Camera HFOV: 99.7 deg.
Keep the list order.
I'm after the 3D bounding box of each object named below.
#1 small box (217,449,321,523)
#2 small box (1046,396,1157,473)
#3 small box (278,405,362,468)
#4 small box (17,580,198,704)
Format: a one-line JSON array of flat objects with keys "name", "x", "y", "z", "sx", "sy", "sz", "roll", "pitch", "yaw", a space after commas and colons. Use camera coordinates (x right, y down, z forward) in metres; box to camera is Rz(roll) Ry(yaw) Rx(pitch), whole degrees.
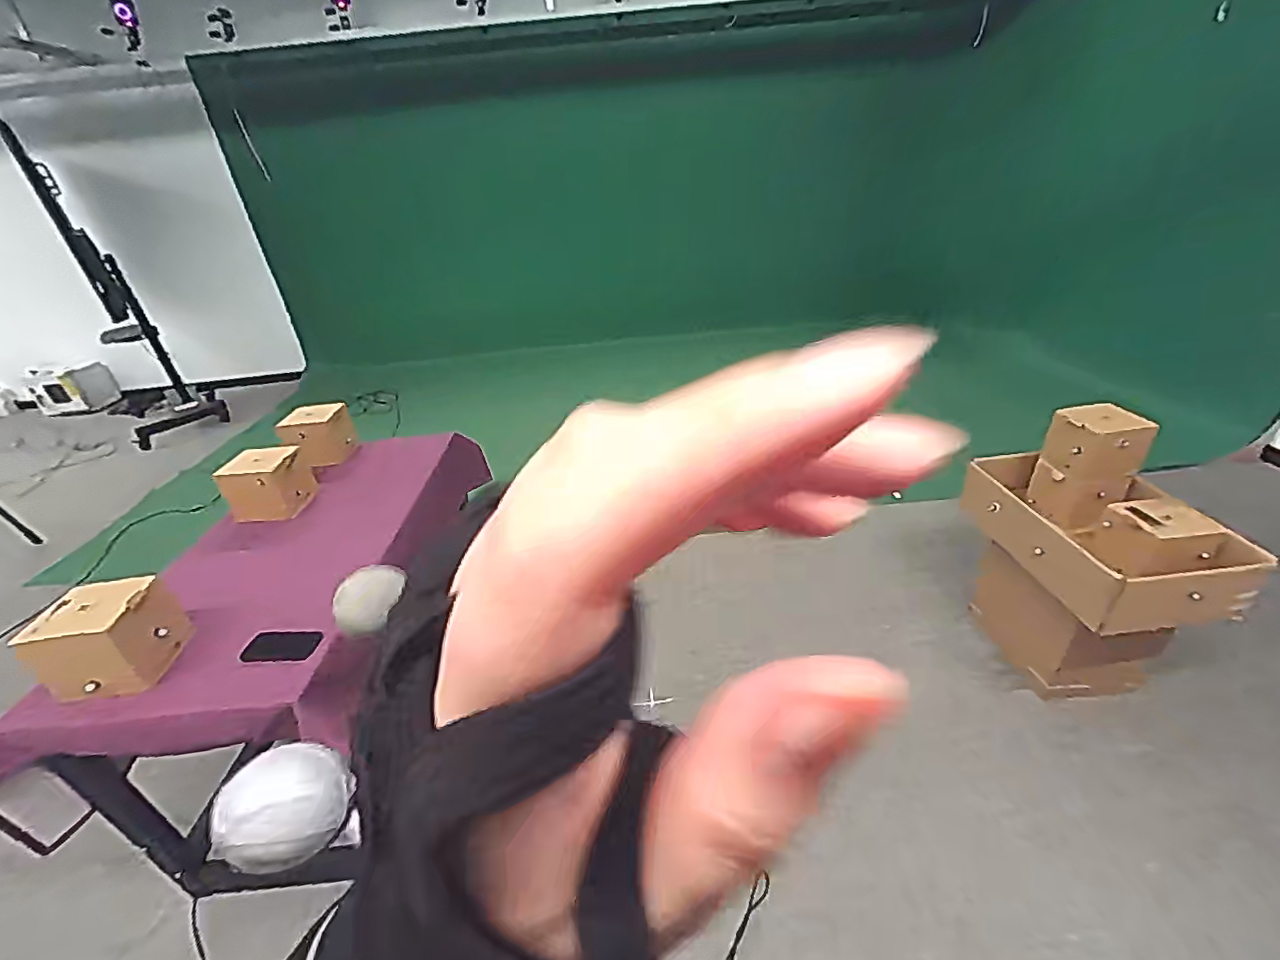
[{"name": "small box", "x": -1.129, "y": 0.020, "z": 1.662, "sx": 0.179, "sy": 0.176, "sz": 0.168, "roll": -5, "pitch": 30, "yaw": 1}, {"name": "small box", "x": 1.350, "y": -0.133, "z": 1.602, "sx": 0.179, "sy": 0.176, "sz": 0.168, "roll": -8, "pitch": 32, "yaw": -4}, {"name": "small box", "x": -1.142, "y": -0.152, "z": 1.945, "sx": 0.179, "sy": 0.176, "sz": 0.168, "roll": -6, "pitch": 32, "yaw": 0}, {"name": "small box", "x": -1.078, "y": 0.334, "z": 1.119, "sx": 0.179, "sy": 0.176, "sz": 0.168, "roll": -8, "pitch": 29, "yaw": -4}]
